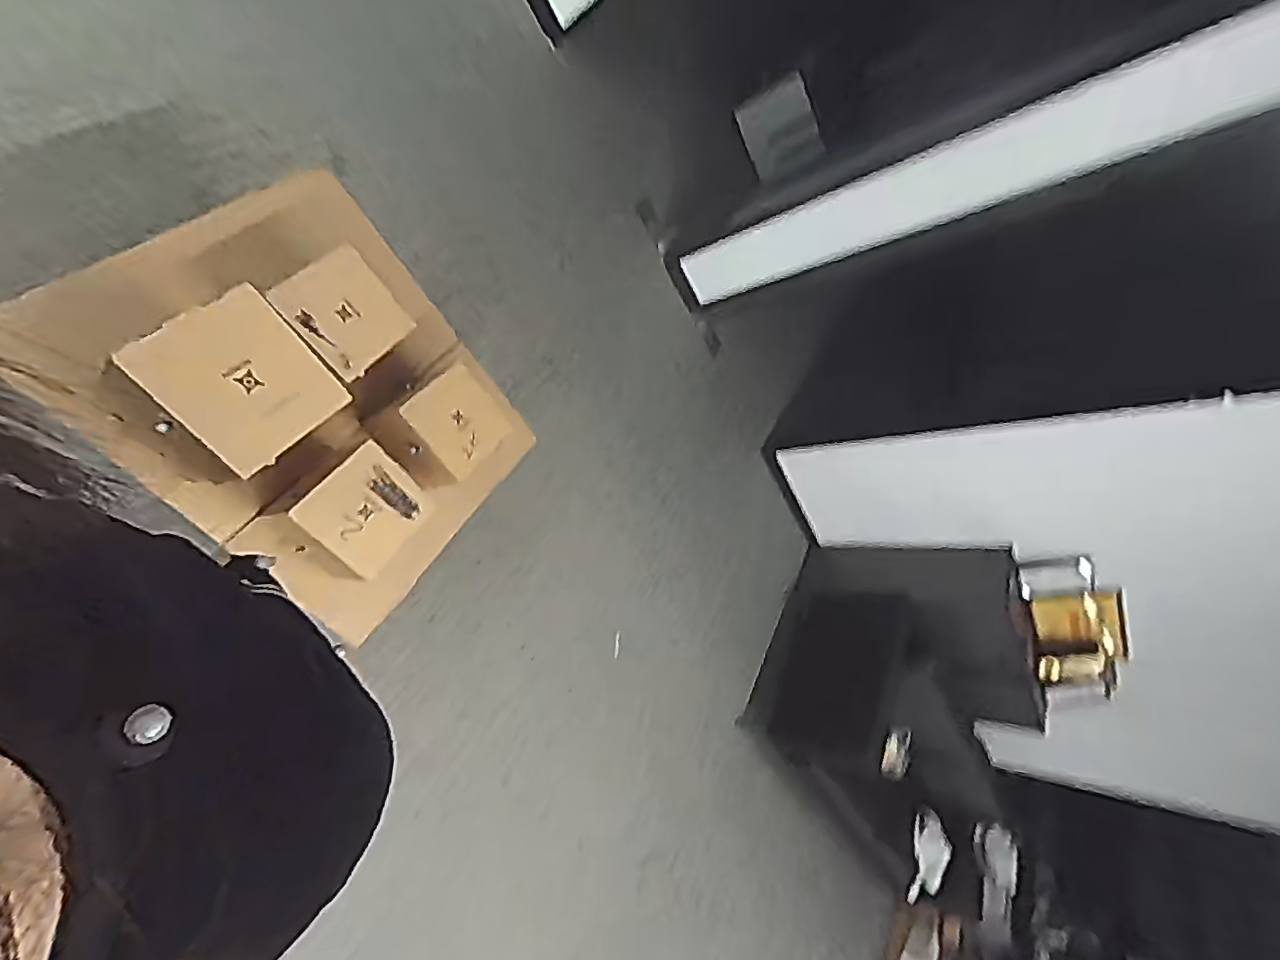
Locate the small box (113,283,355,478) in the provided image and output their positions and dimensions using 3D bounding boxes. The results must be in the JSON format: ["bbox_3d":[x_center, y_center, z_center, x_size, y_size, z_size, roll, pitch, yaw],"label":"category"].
[{"bbox_3d":[-0.517,-0.115,0.691,0.168,0.176,0.179,-53,124,-35],"label":"small box"}]

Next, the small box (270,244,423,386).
[{"bbox_3d":[-0.526,-0.269,0.936,0.168,0.176,0.179,53,50,-28],"label":"small box"}]

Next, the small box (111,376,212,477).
[{"bbox_3d":[-0.631,-0.119,0.809,0.168,0.176,0.179,57,49,-27],"label":"small box"}]
